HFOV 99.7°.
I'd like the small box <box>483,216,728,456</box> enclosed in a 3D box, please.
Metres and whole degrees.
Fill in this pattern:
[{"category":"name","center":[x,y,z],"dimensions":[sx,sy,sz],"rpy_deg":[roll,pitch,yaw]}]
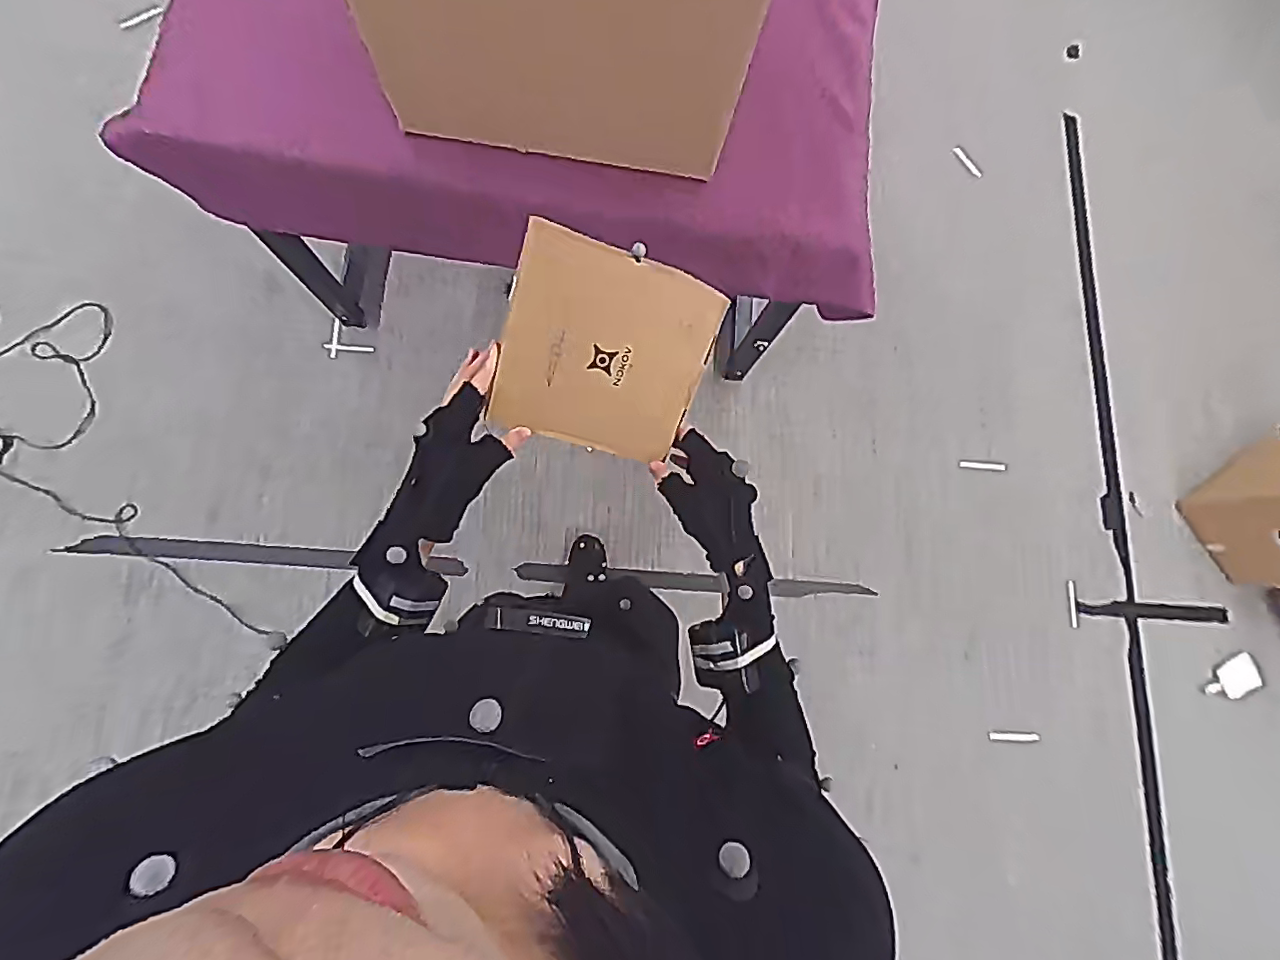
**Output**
[{"category":"small box","center":[-0.045,-0.145,0.527],"dimensions":[0.179,0.176,0.168],"rpy_deg":[12,115,-18]}]
